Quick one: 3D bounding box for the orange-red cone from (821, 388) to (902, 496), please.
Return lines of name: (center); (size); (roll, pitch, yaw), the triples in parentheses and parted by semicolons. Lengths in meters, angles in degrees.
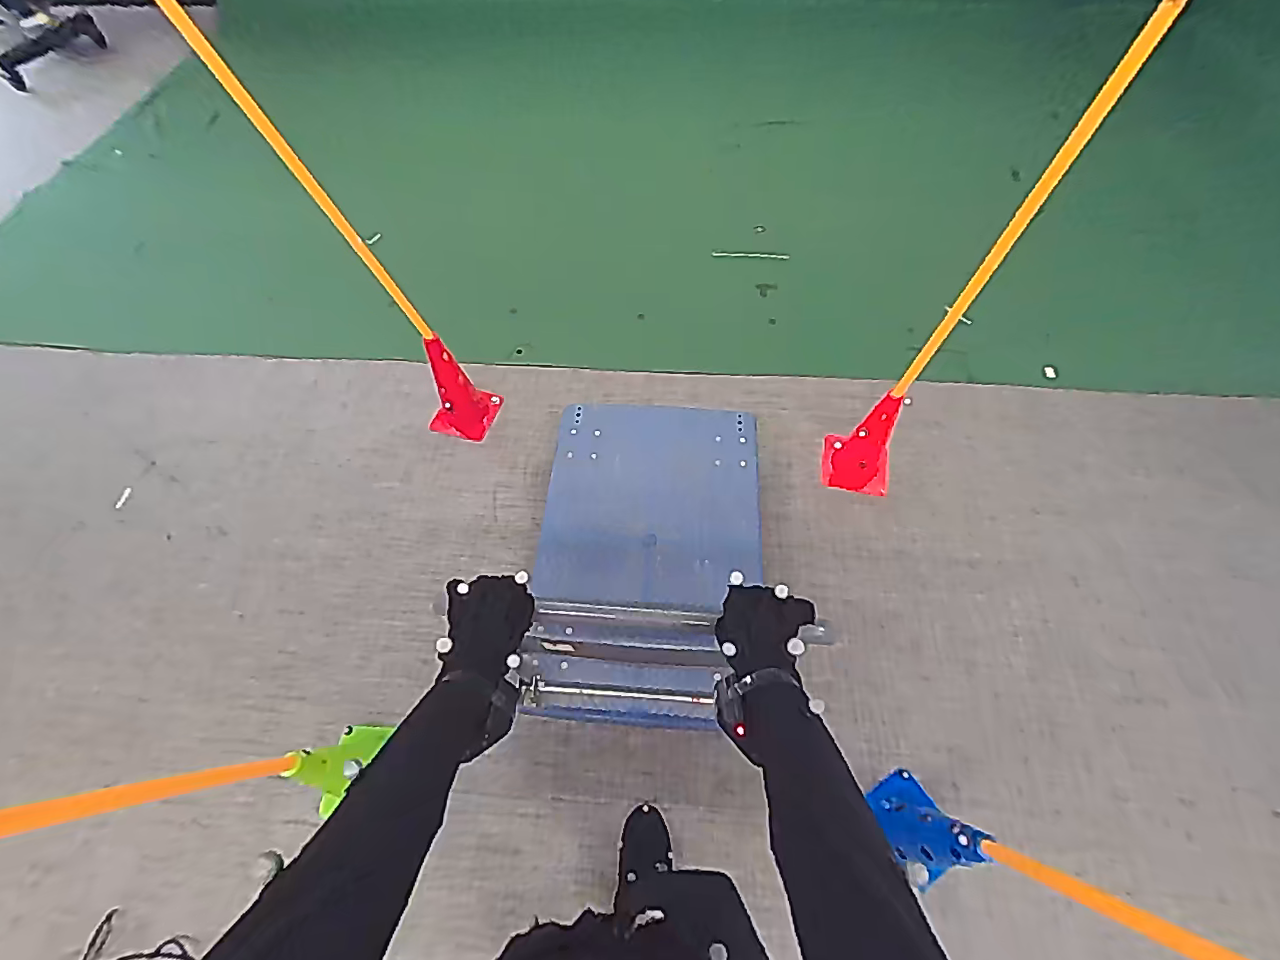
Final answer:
orange-red cone: (0.670, -0.134, 1.553); (0.198, 0.360, 0.199); (12, 62, 10)
